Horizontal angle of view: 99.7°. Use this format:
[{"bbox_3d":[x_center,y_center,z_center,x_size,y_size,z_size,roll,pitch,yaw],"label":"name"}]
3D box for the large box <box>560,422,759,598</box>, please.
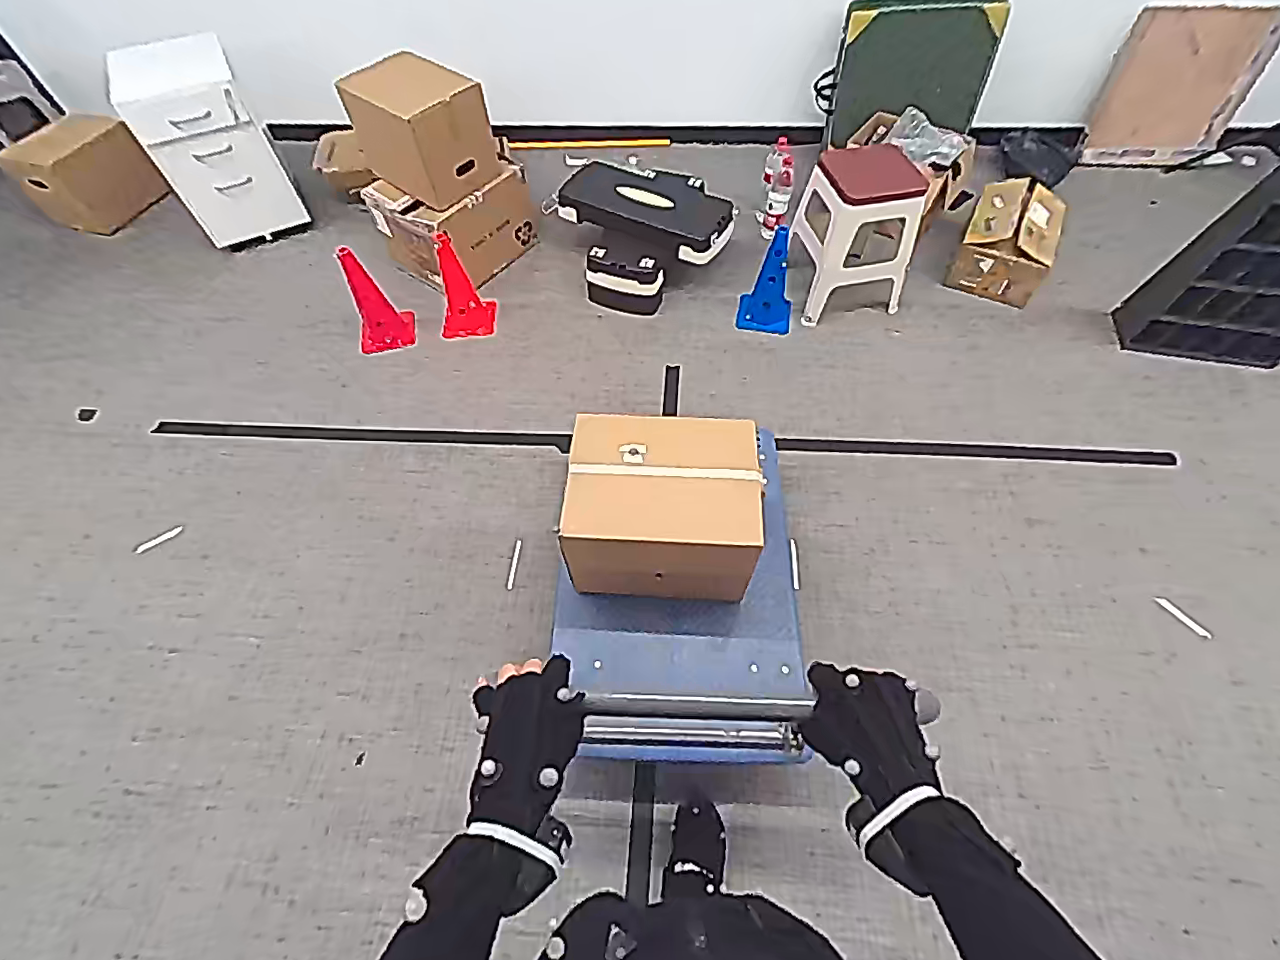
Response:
[{"bbox_3d":[0.049,0.079,1.275,0.408,0.320,0.320,2,58,3],"label":"large box"}]
